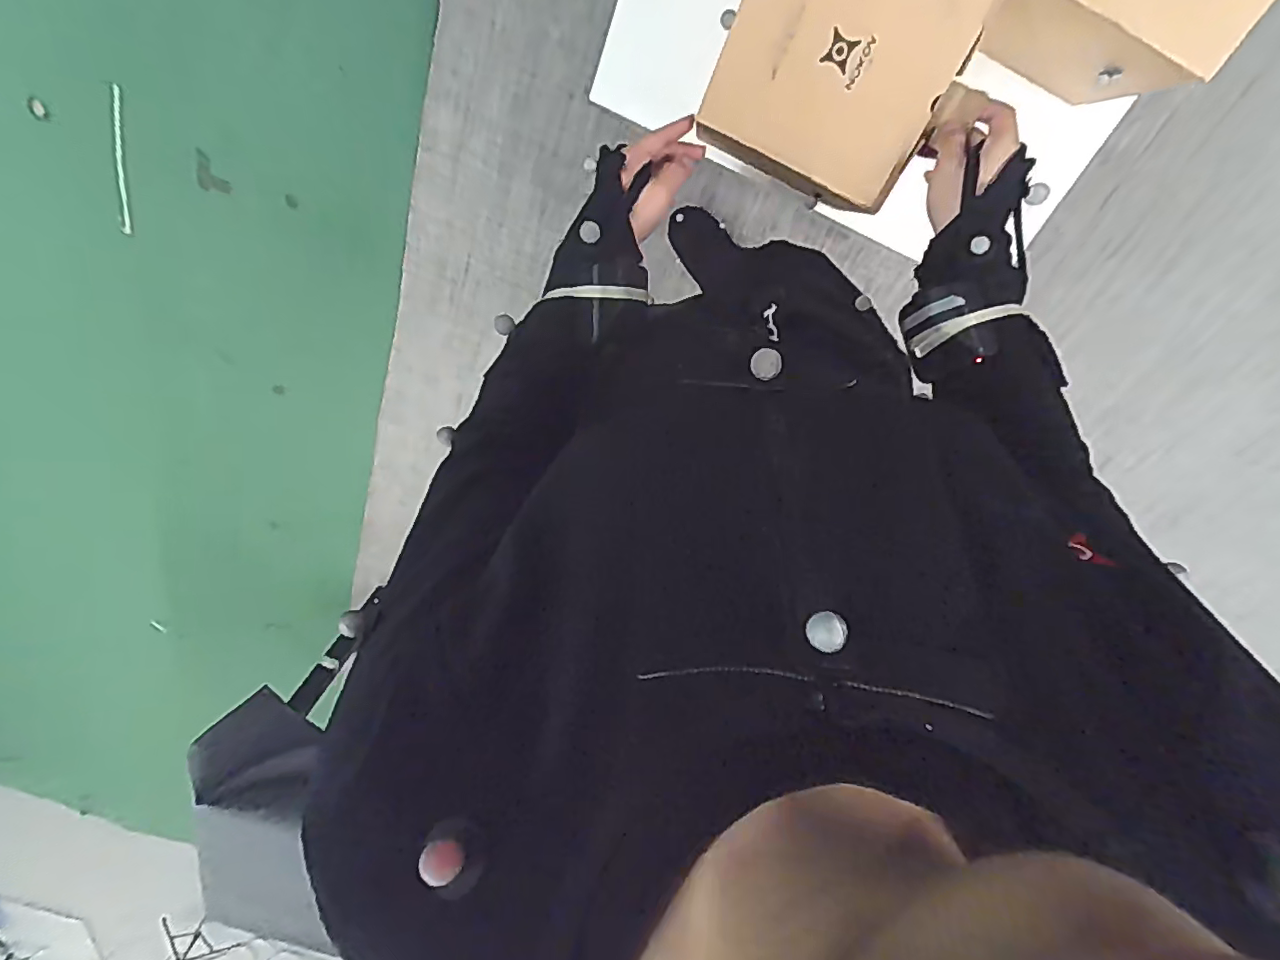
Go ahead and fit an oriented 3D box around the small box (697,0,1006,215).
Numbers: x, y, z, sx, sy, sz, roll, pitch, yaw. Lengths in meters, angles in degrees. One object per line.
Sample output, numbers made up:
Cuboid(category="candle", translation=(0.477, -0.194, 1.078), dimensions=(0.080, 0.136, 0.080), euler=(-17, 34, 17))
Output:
Cuboid(category="small box", translation=(0.163, -0.359, 0.481), dimensions=(0.179, 0.176, 0.168), euler=(23, 117, -5))
